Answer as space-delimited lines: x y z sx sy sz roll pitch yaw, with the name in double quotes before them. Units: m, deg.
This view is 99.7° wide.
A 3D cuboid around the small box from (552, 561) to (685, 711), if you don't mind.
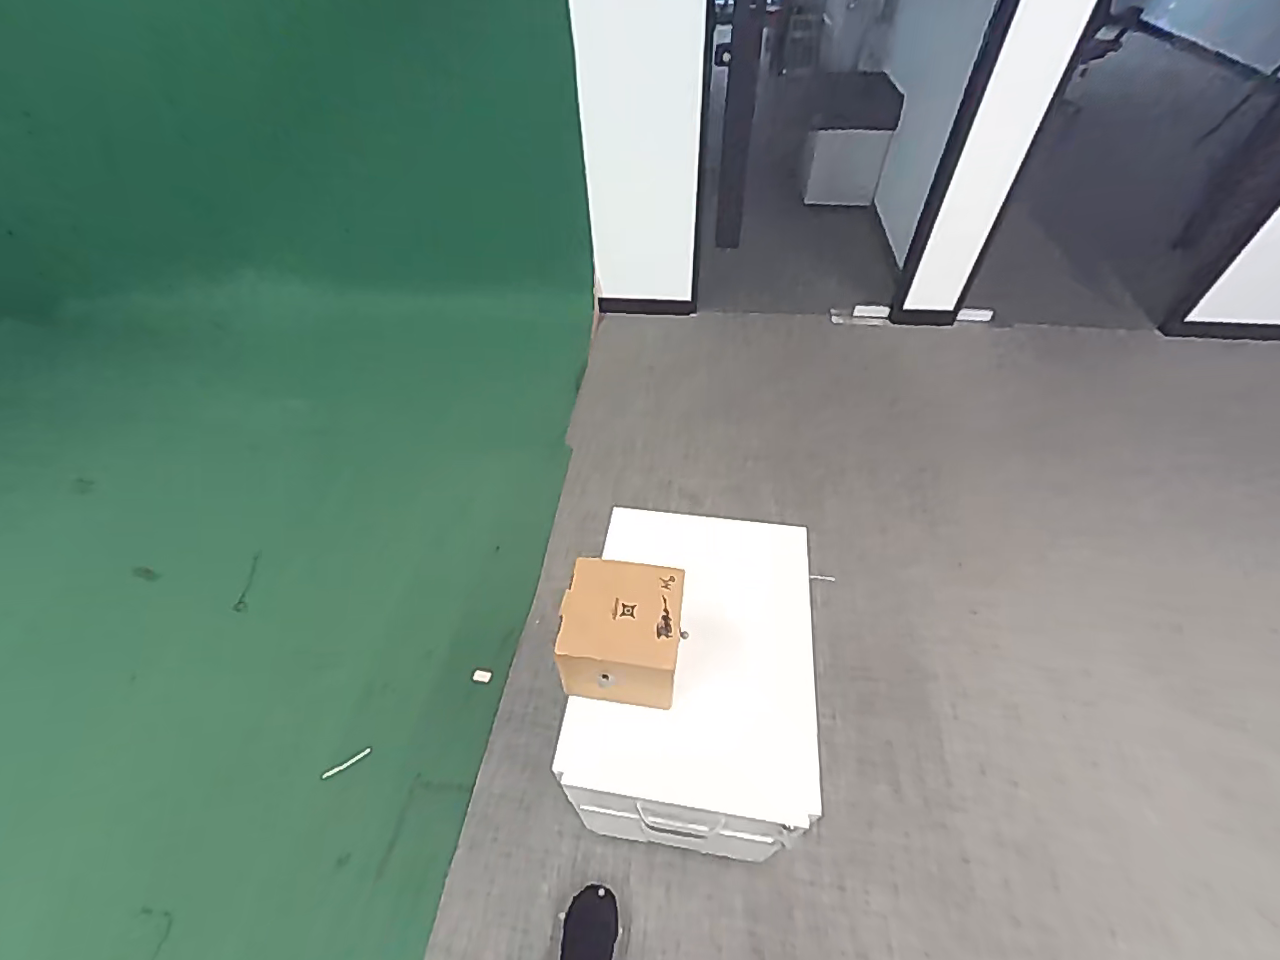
"small box" -0.026 0.251 0.865 0.179 0.176 0.168 6 49 6
